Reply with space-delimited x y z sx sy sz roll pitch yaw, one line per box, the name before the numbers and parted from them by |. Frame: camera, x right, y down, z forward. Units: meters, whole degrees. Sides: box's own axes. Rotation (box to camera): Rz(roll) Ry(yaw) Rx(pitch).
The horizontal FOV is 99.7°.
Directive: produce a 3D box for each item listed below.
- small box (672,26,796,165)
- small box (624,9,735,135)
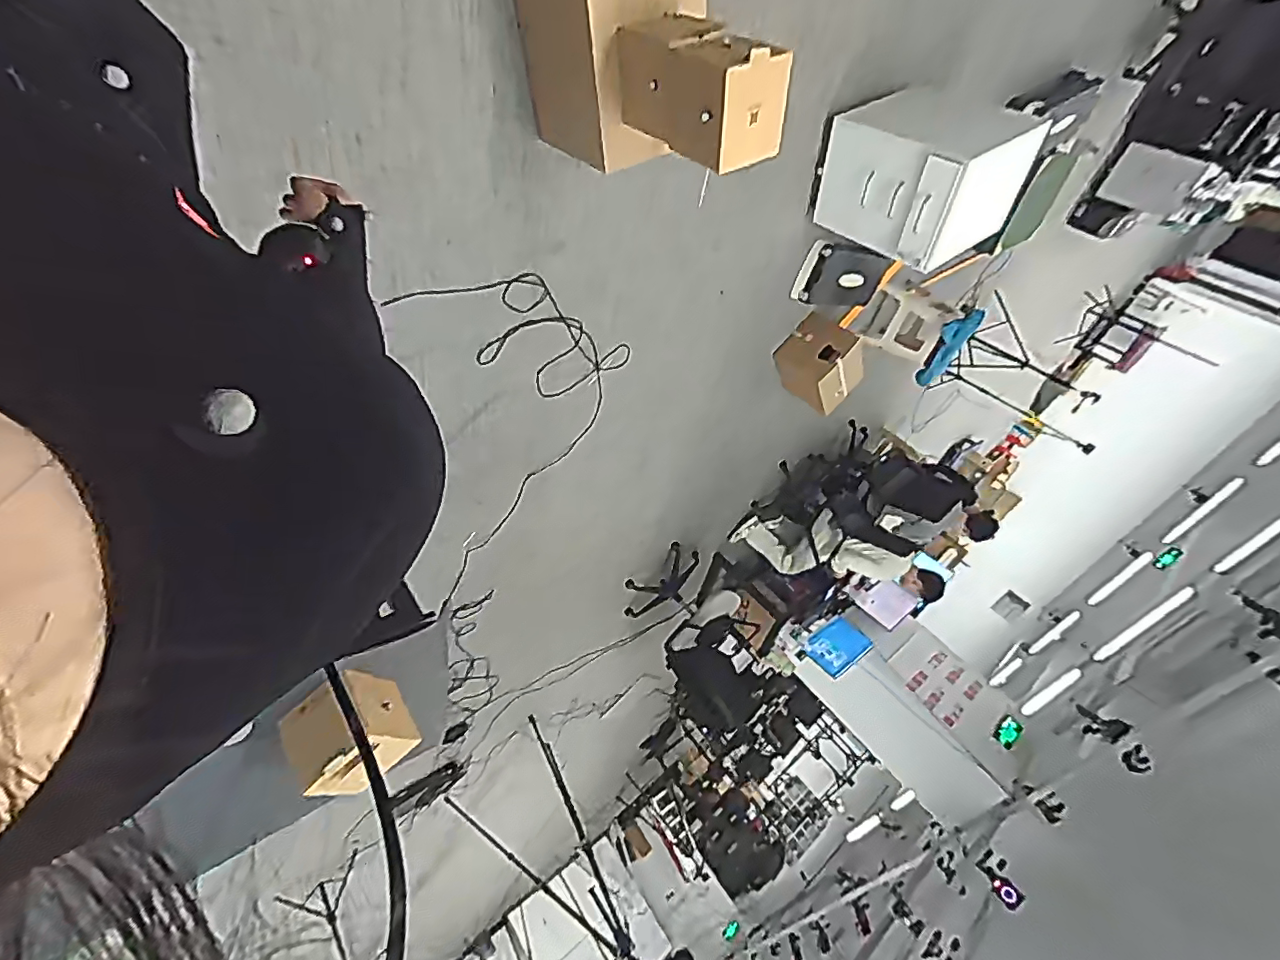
small box | 0.175 -0.762 1.070 0.168 0.176 0.179 -31 145 -20
small box | 0.078 -0.869 1.145 0.168 0.176 0.179 -31 146 -20
